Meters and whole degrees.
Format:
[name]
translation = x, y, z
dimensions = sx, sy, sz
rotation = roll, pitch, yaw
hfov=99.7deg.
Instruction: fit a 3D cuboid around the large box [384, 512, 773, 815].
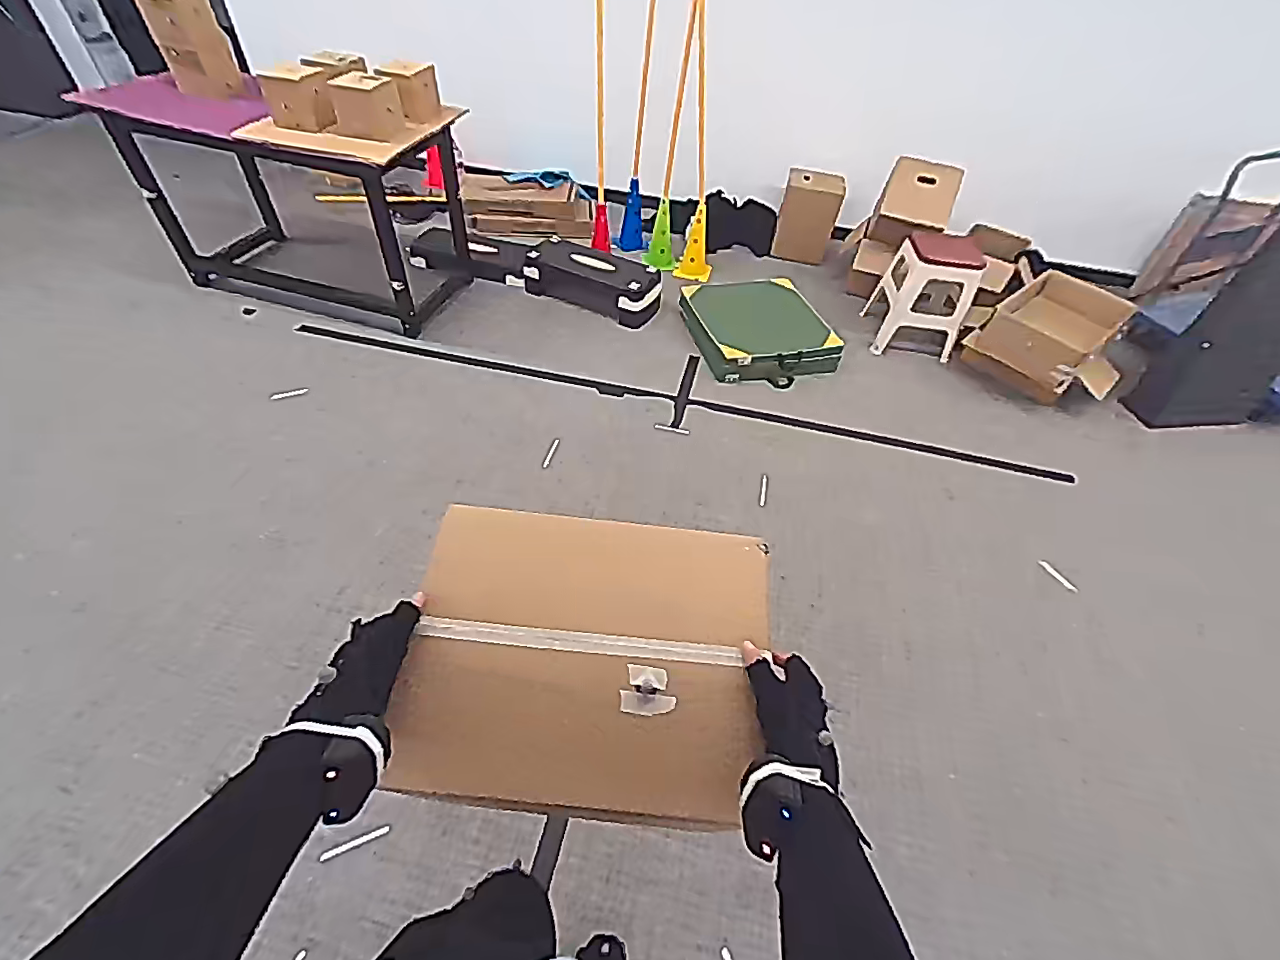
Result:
[large box]
translation = -0.065, 0.267, 0.748
dimensions = 0.408, 0.320, 0.320
rotation = 6, 57, -2
